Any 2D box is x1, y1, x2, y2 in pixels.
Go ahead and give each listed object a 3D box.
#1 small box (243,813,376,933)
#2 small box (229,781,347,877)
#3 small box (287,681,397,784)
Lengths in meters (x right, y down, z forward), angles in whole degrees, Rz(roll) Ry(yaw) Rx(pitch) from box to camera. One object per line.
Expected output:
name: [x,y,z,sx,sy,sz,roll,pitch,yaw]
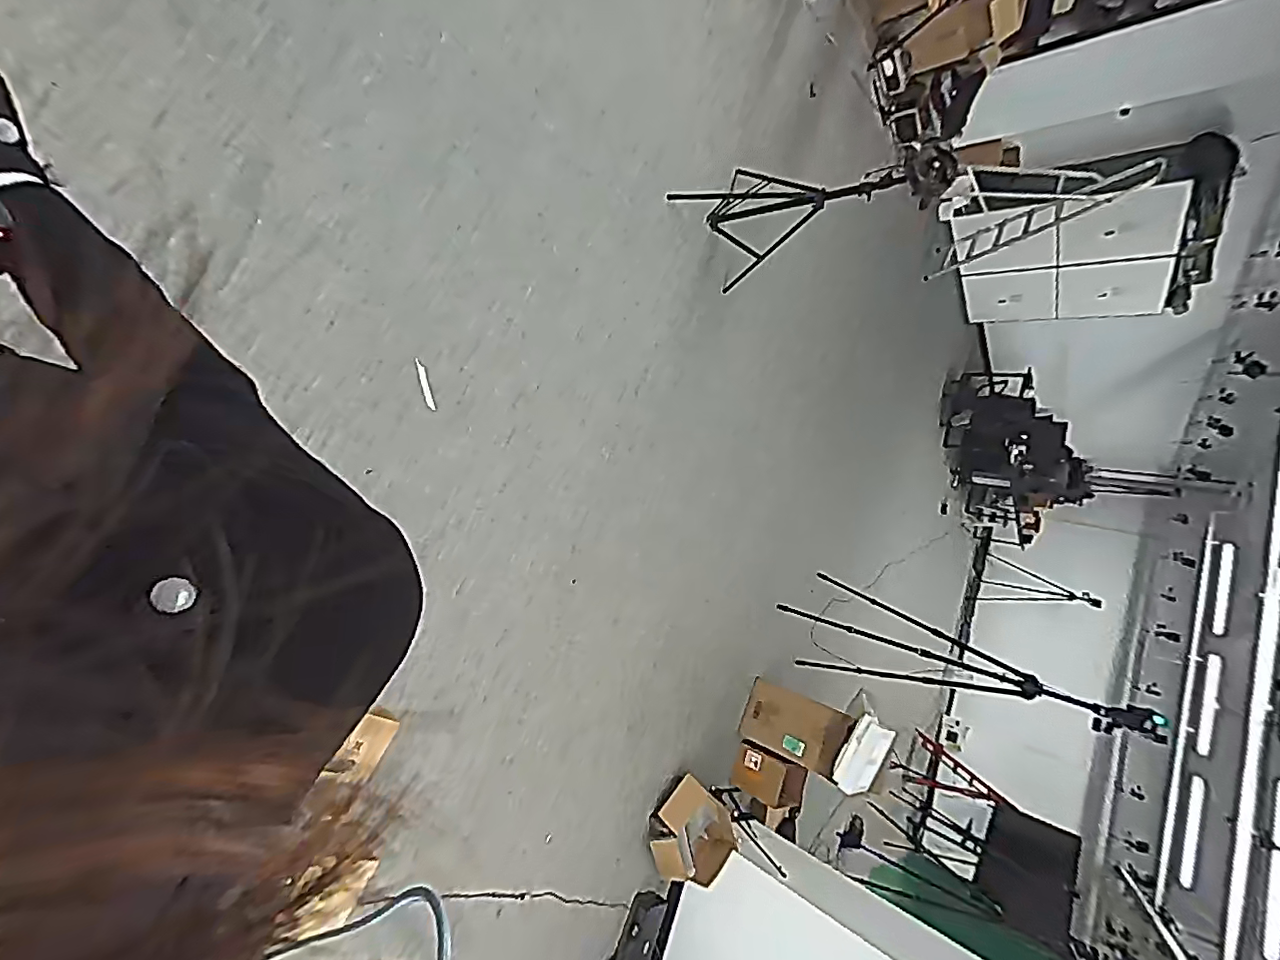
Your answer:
small box: [-0.766,0.904,1.256,0.179,0.176,0.168,49,61,-44]
small box: [-0.890,0.885,1.362,0.168,0.176,0.179,39,68,-47]
small box: [-0.790,0.661,1.424,0.168,0.176,0.179,48,62,-44]
